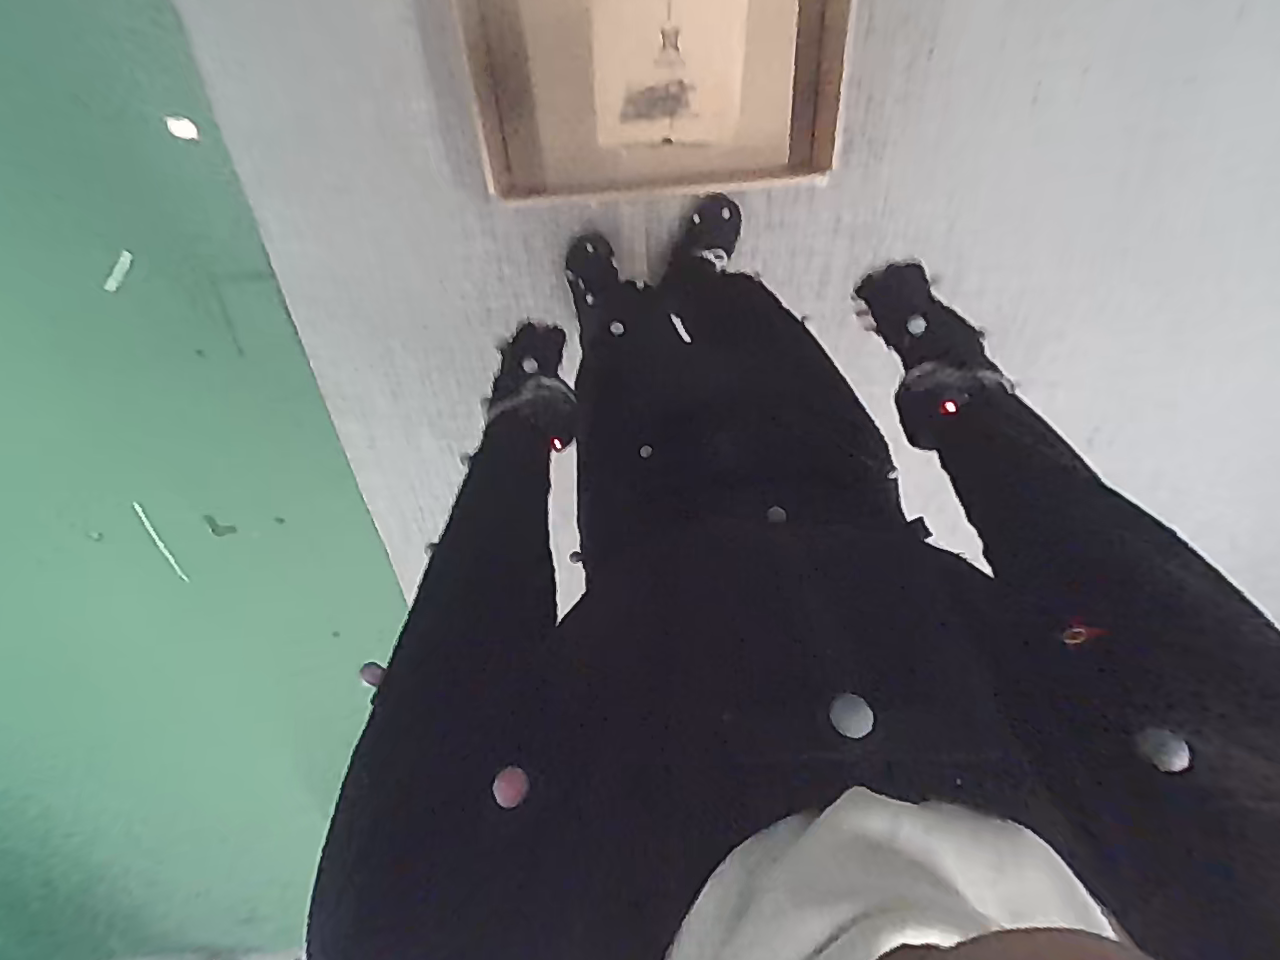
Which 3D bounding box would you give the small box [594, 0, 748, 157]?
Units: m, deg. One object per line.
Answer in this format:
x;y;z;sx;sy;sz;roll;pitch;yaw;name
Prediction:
0.033;-0.502;0.664;0.168;0.176;0.179;0;121;-1;small box
